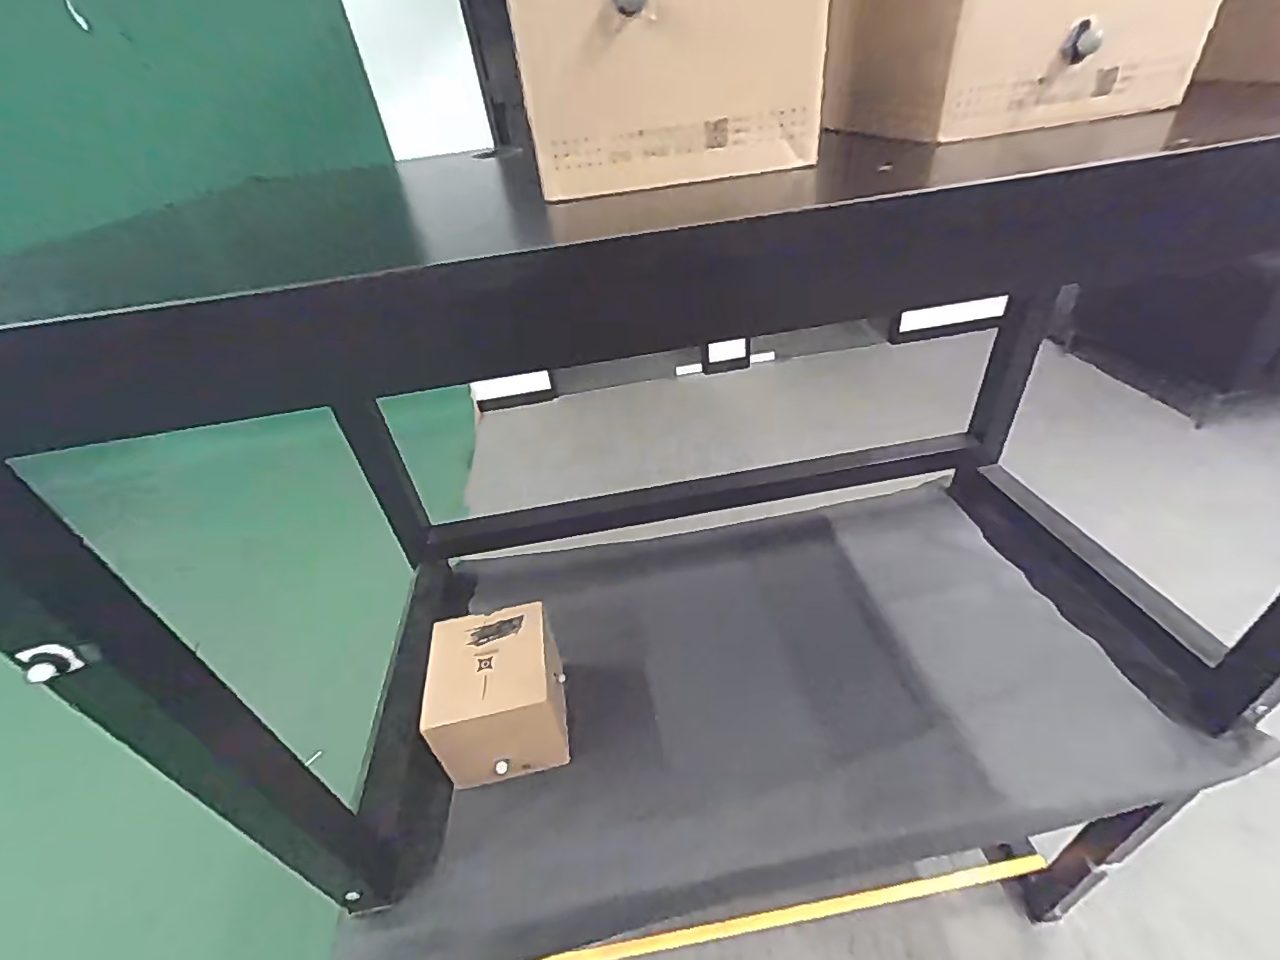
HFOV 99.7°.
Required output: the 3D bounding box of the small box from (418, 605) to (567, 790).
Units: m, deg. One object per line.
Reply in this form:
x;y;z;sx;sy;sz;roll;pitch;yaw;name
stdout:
-0.207;0.319;0.802;0.168;0.176;0.179;-11;36;-4;small box
